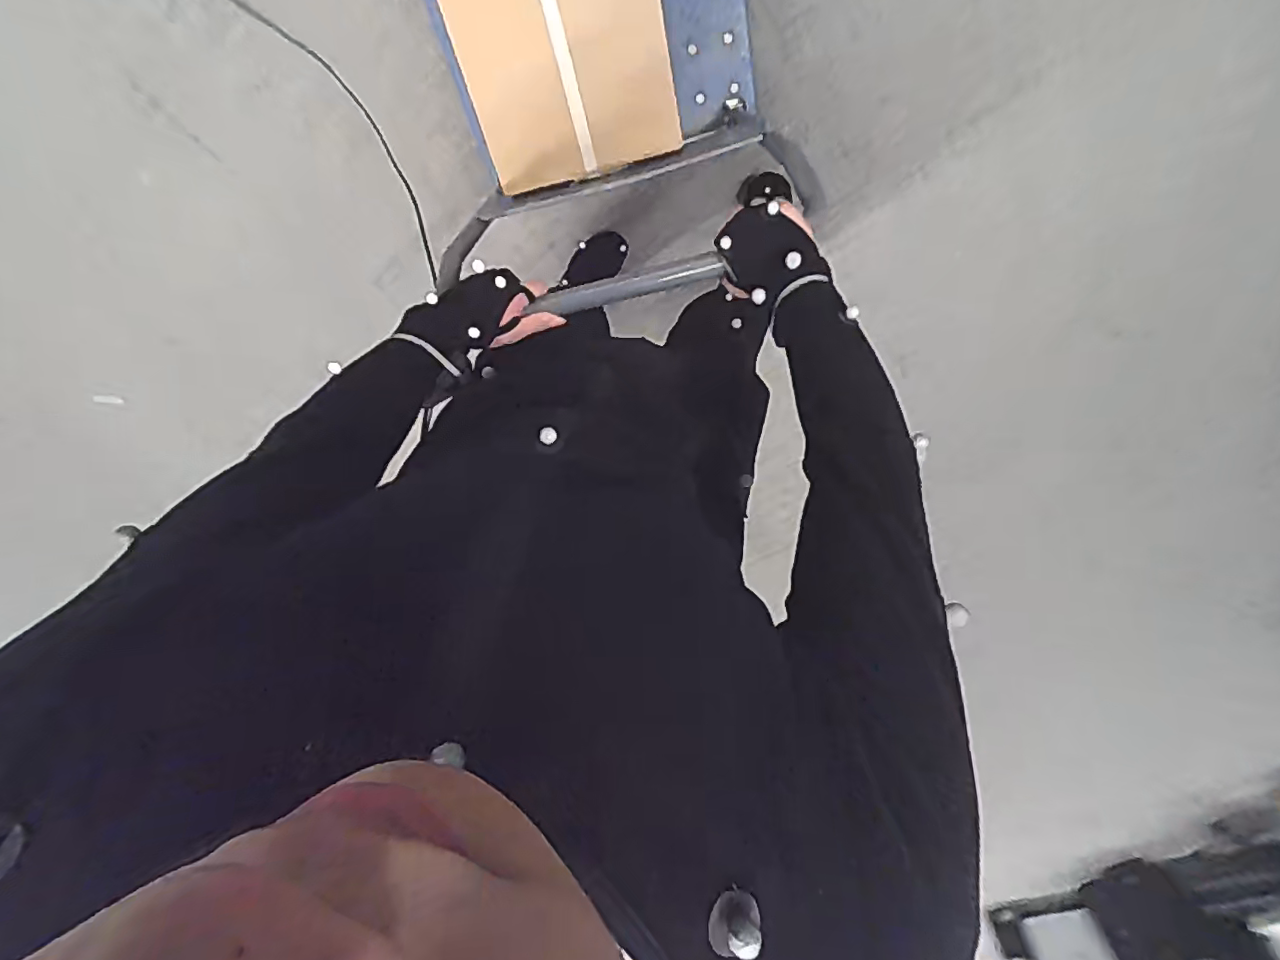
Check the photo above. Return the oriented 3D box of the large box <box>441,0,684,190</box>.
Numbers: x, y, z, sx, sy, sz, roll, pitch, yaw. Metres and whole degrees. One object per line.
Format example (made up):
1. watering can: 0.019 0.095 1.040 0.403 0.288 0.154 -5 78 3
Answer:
1. large box: -0.121 -0.762 0.906 0.320 0.320 0.408 -11 125 8
